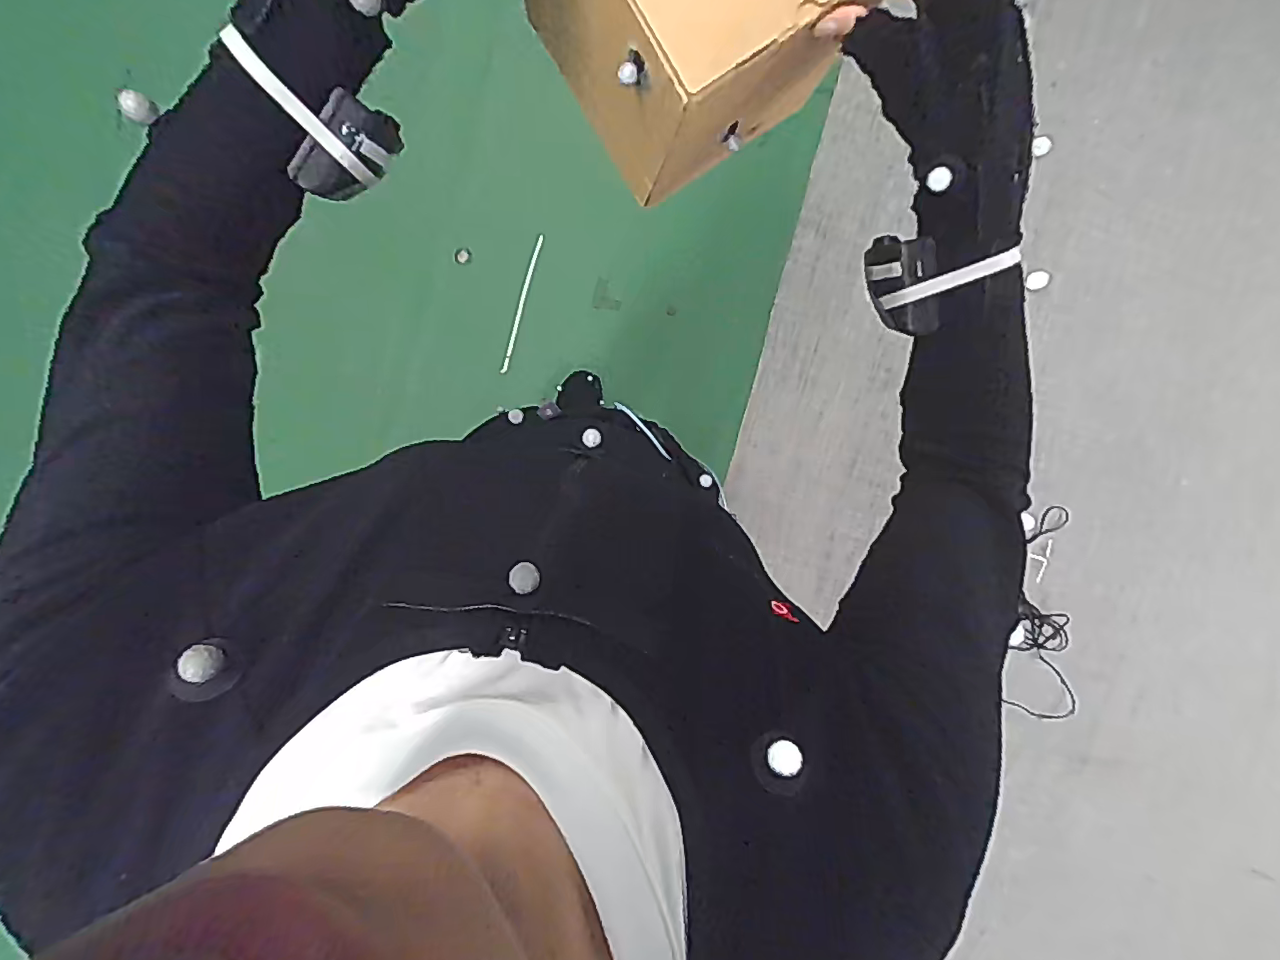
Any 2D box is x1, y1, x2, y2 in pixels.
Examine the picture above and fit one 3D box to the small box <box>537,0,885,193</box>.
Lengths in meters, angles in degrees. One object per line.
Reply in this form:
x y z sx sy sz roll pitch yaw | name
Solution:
0.038 -0.340 0.368 0.168 0.176 0.179 -34 103 -3 | small box
